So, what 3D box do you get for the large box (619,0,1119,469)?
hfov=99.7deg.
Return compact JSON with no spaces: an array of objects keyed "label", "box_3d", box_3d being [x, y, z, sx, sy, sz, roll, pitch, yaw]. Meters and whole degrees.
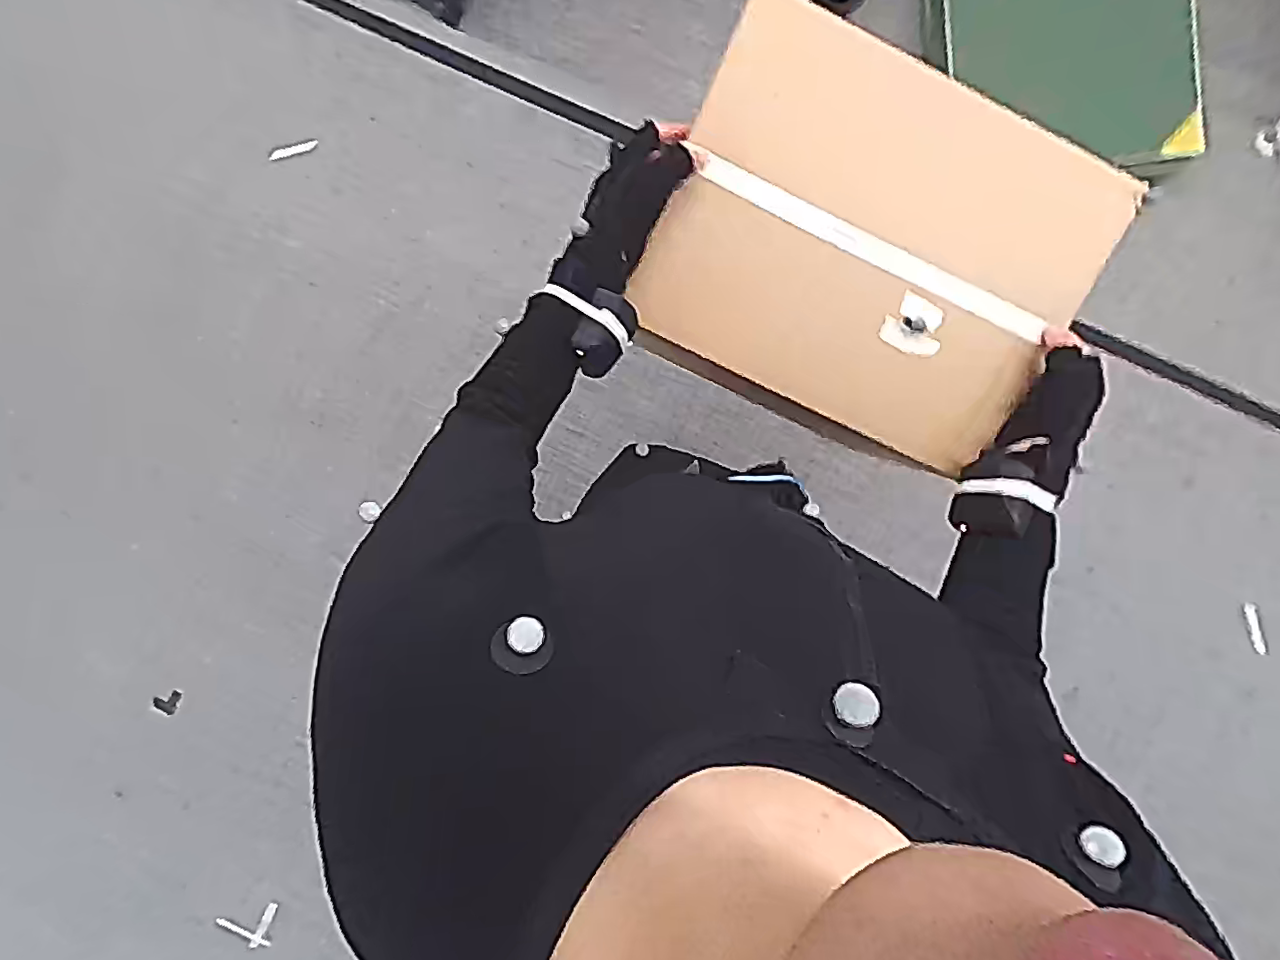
[{"label":"large box","box_3d":[0.216,-0.253,0.672,0.408,0.320,0.320,25,101,-5]}]
